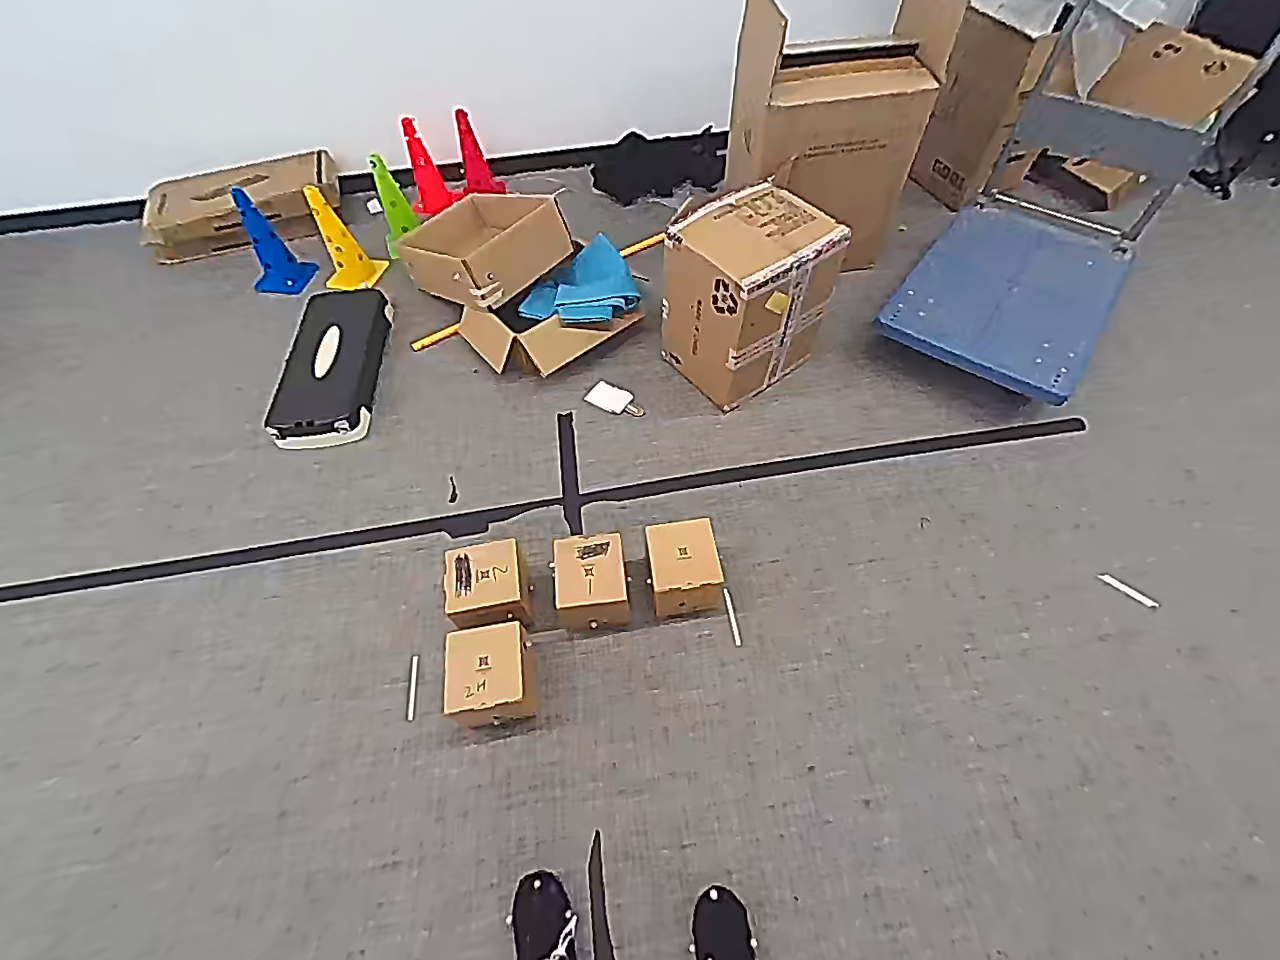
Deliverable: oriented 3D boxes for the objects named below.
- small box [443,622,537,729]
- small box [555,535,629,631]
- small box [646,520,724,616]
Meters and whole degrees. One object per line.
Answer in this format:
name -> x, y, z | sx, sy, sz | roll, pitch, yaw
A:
small box -> -0.334, 0.445, 1.226 | 0.168, 0.176, 0.179 | -9, 57, -3
small box -> -0.118, 0.258, 1.344 | 0.168, 0.176, 0.179 | -6, 57, -2
small box -> 0.105, 0.223, 1.363 | 0.168, 0.176, 0.179 | -8, 57, -4
